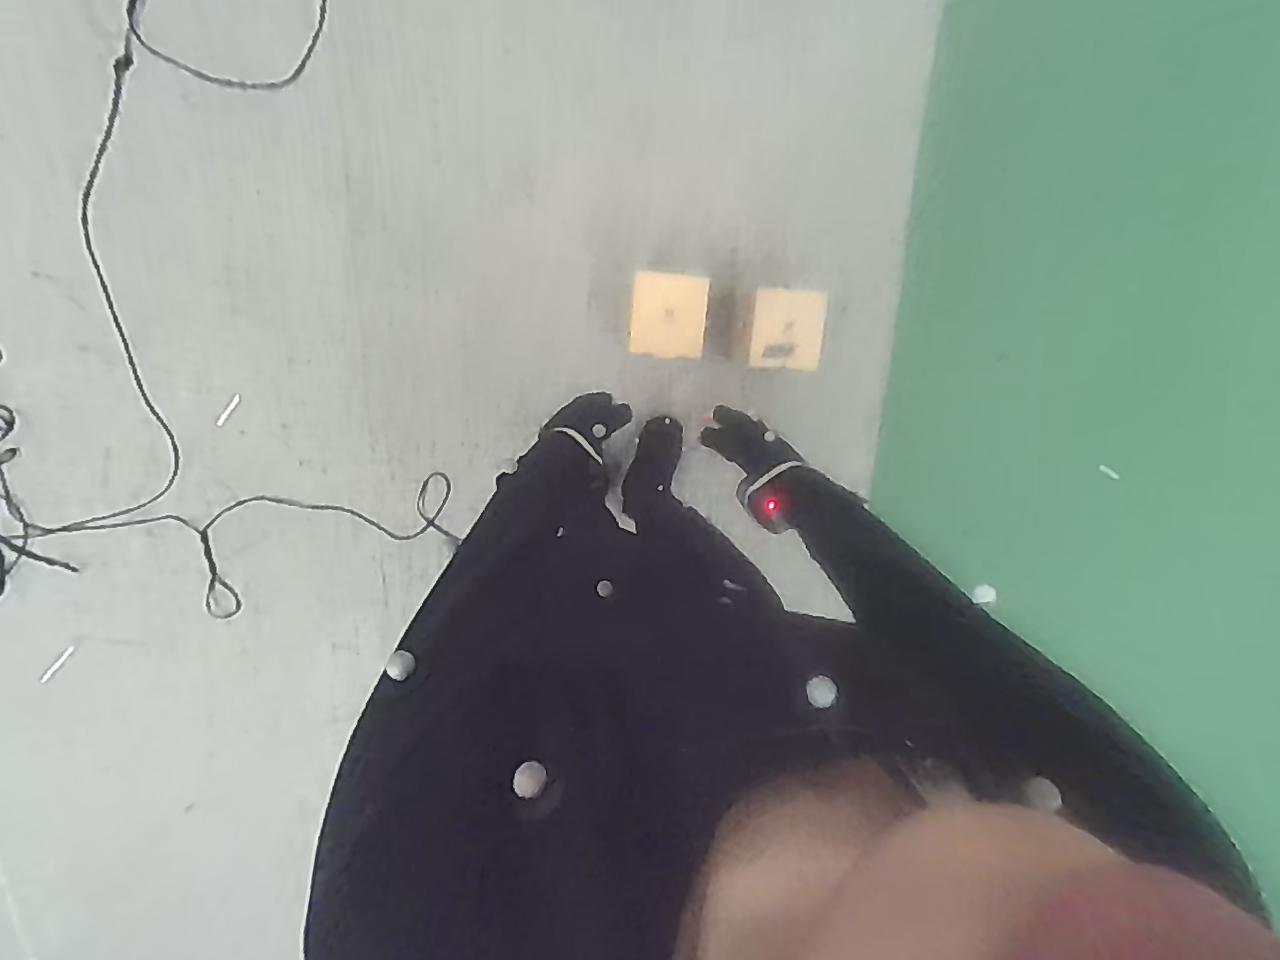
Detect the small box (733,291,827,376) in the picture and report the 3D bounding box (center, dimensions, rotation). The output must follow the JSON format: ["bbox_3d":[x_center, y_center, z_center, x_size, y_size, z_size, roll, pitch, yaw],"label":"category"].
[{"bbox_3d":[0.325,-0.346,1.291,0.168,0.176,0.179,3,103,-5],"label":"small box"}]

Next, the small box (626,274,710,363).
[{"bbox_3d":[0.058,-0.371,1.264,0.168,0.176,0.179,3,104,-6],"label":"small box"}]
